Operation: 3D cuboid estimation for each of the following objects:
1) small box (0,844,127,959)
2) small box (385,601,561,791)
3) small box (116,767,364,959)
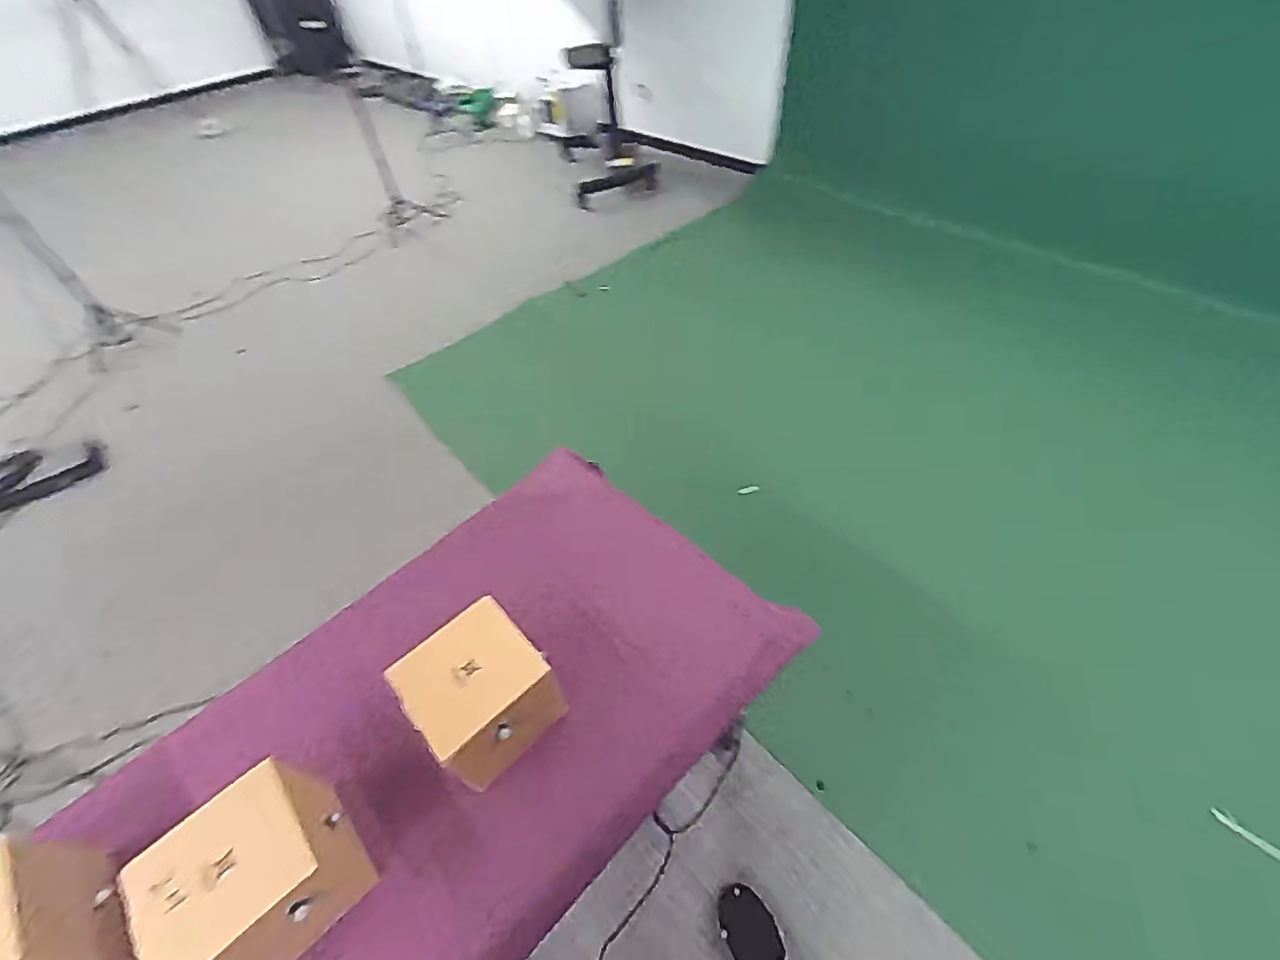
[{"bbox_3d":[-0.773,0.577,0.633,0.179,0.176,0.168,-38,57,-26],"label":"small box"},{"bbox_3d":[-0.235,0.323,0.807,0.179,0.176,0.168,-38,57,-23],"label":"small box"},{"bbox_3d":[-0.476,0.503,0.671,0.179,0.176,0.168,-38,56,-24],"label":"small box"}]
